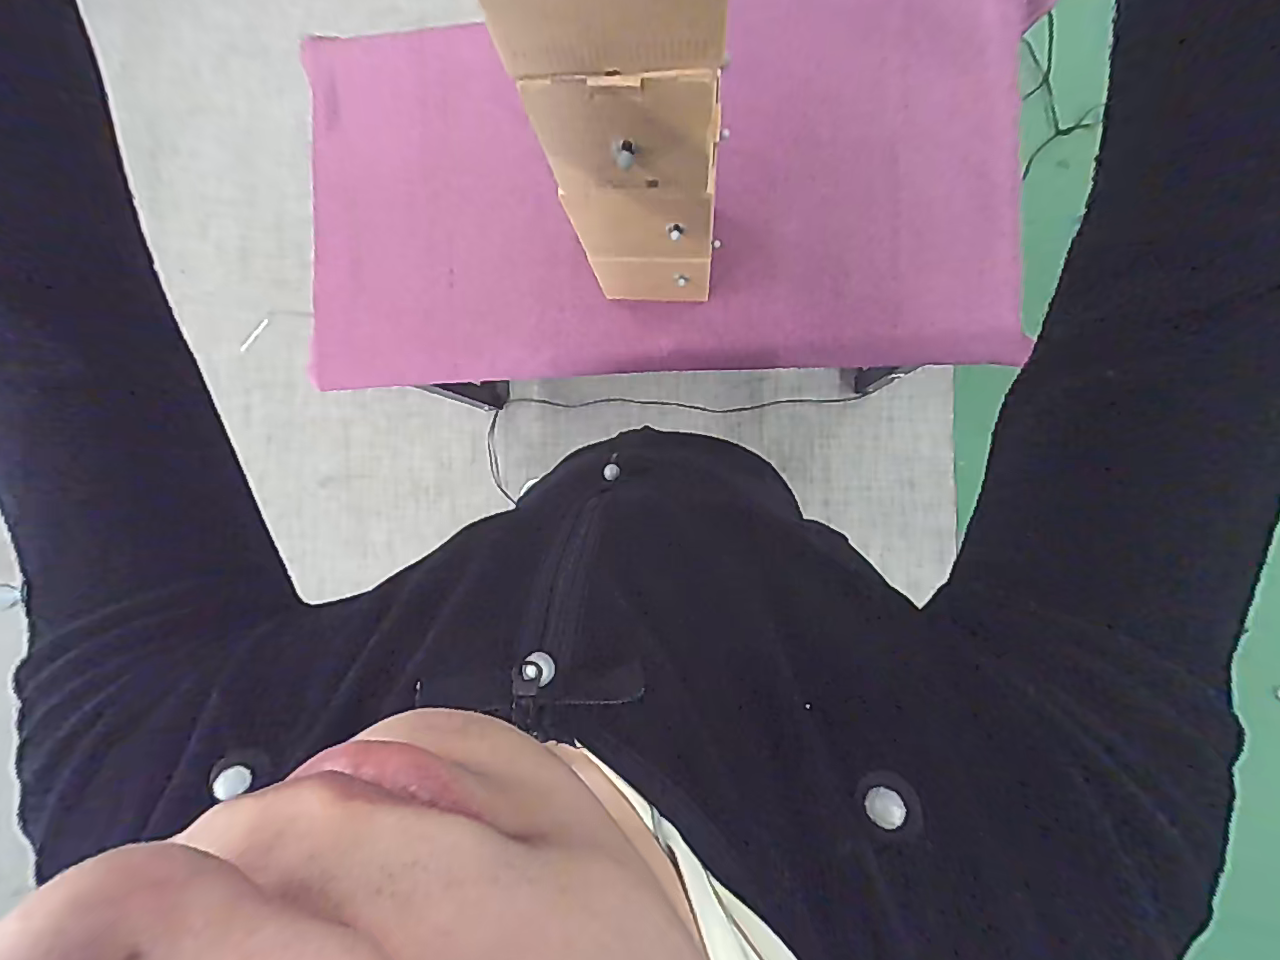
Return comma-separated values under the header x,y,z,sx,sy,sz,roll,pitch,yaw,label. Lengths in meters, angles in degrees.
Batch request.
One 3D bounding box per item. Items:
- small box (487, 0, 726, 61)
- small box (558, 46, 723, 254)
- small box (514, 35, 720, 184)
x,y,z,sx,sy,sz,roll,pitch,yaw,label
-0.027,-0.415,0.351,0.179,0.176,0.168,1,89,5,small box
0.008,-0.399,0.676,0.179,0.176,0.168,4,89,7,small box
-0.010,-0.408,0.515,0.168,0.176,0.179,3,89,6,small box
